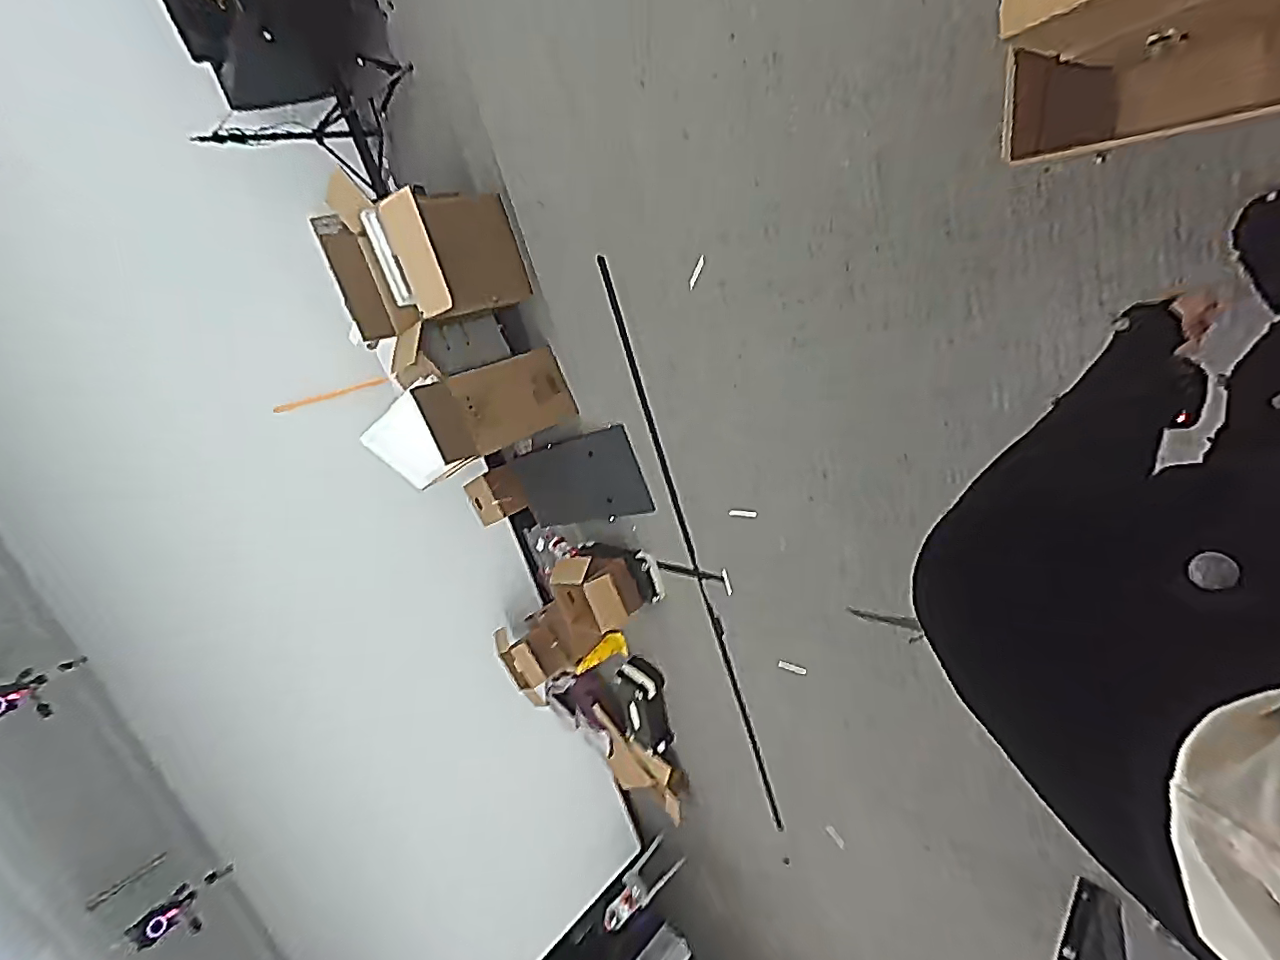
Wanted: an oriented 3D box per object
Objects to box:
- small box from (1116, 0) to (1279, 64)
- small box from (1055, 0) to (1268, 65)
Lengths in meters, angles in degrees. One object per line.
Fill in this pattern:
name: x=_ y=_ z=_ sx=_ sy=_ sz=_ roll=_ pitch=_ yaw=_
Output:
small box: x=0.684 y=-0.636 z=0.656 sx=0.179 sy=0.176 sz=0.168 roll=10 pitch=120 yaw=48
small box: x=0.559 y=-0.576 z=0.568 sx=0.168 sy=0.176 sz=0.179 roll=7 pitch=118 yaw=50
